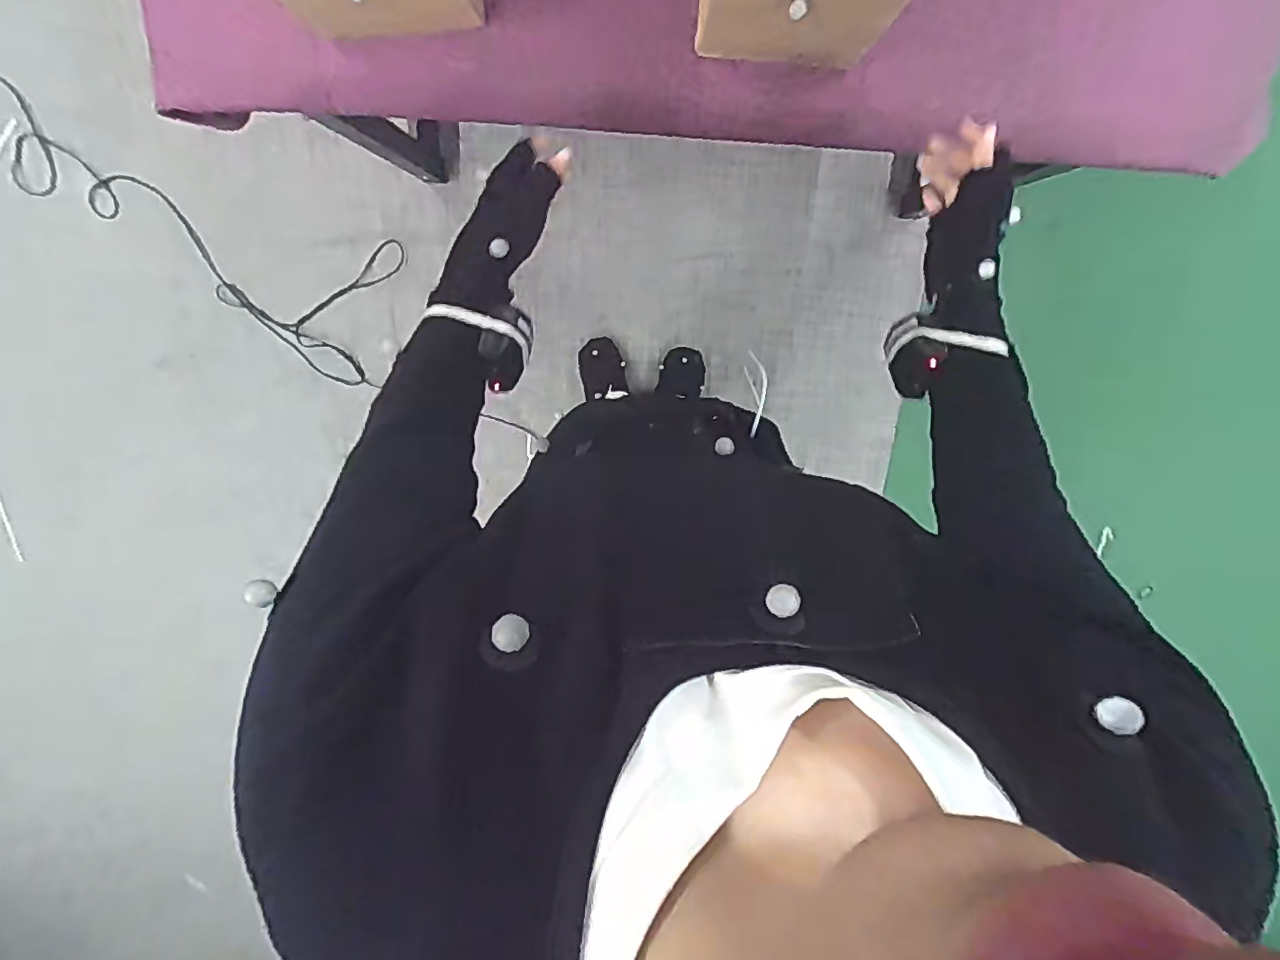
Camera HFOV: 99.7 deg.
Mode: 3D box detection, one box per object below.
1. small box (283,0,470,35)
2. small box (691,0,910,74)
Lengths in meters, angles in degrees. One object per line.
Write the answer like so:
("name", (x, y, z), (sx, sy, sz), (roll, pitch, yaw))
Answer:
("small box", (-0.260, -0.536, 0.483), (0.179, 0.176, 0.168), (-3, 107, 1))
("small box", (0.149, -0.509, 0.500), (0.179, 0.176, 0.168), (5, 107, -1))
